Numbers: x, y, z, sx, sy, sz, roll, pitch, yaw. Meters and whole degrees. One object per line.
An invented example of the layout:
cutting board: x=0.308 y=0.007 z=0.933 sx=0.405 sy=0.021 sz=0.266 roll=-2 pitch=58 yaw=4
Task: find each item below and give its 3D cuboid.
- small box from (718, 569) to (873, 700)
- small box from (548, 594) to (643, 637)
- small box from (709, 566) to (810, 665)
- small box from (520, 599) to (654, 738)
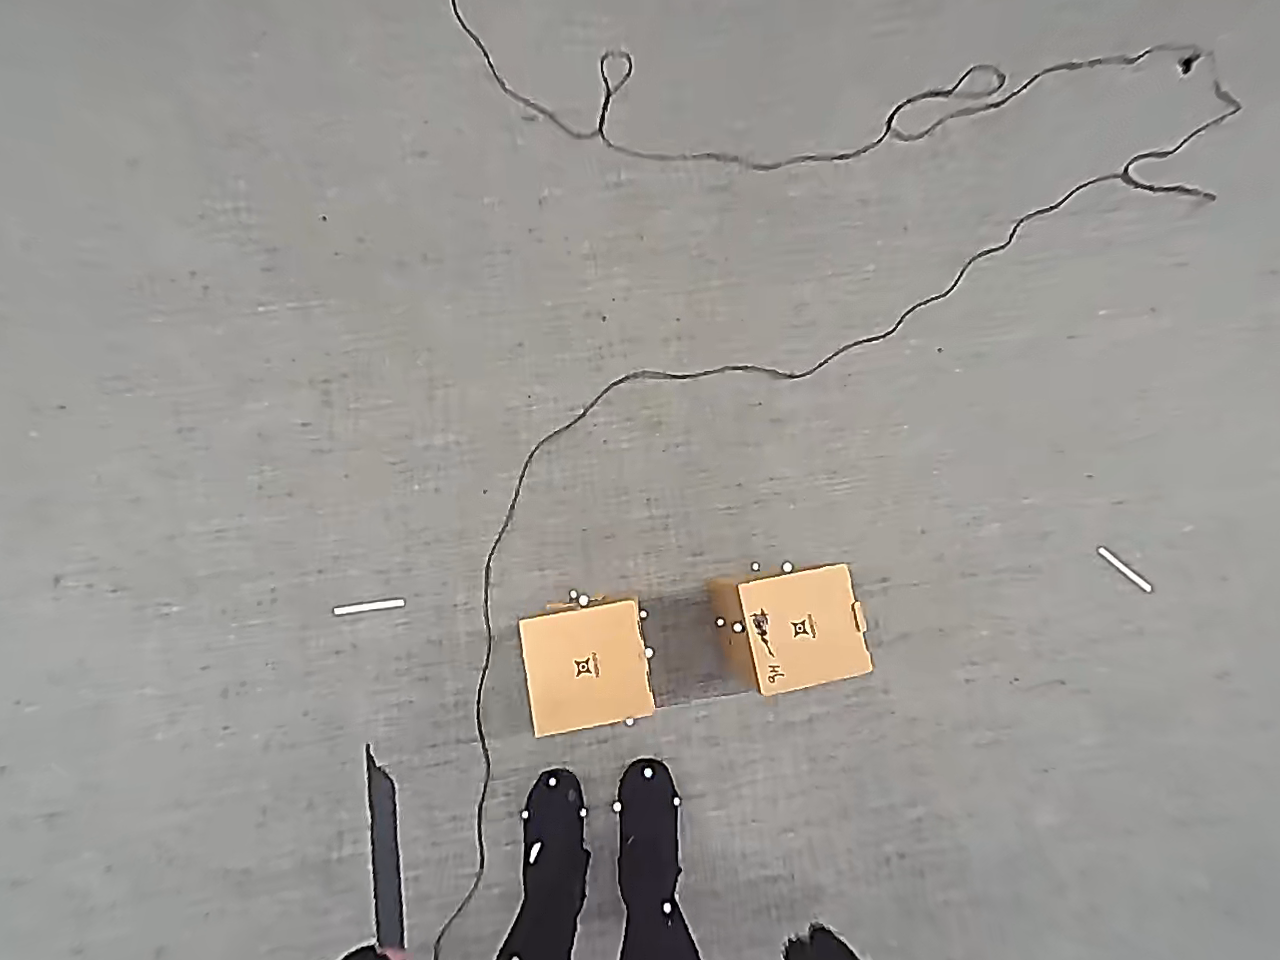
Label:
small box: x=0.240 y=0.238 z=0.878 sx=0.179 sy=0.176 sz=0.168 roll=-10 pitch=81 yaw=-5
small box: x=-0.079 y=0.311 z=1.018 sx=0.168 sy=0.176 sz=0.179 roll=-6 pitch=82 yaw=-3
small box: x=0.239 y=0.266 z=1.040 sx=0.168 sy=0.176 sz=0.179 roll=-10 pitch=82 yaw=-4
small box: x=-0.079 y=0.286 z=0.857 sx=0.179 sy=0.176 sz=0.168 roll=-10 pitch=81 yaw=-4
